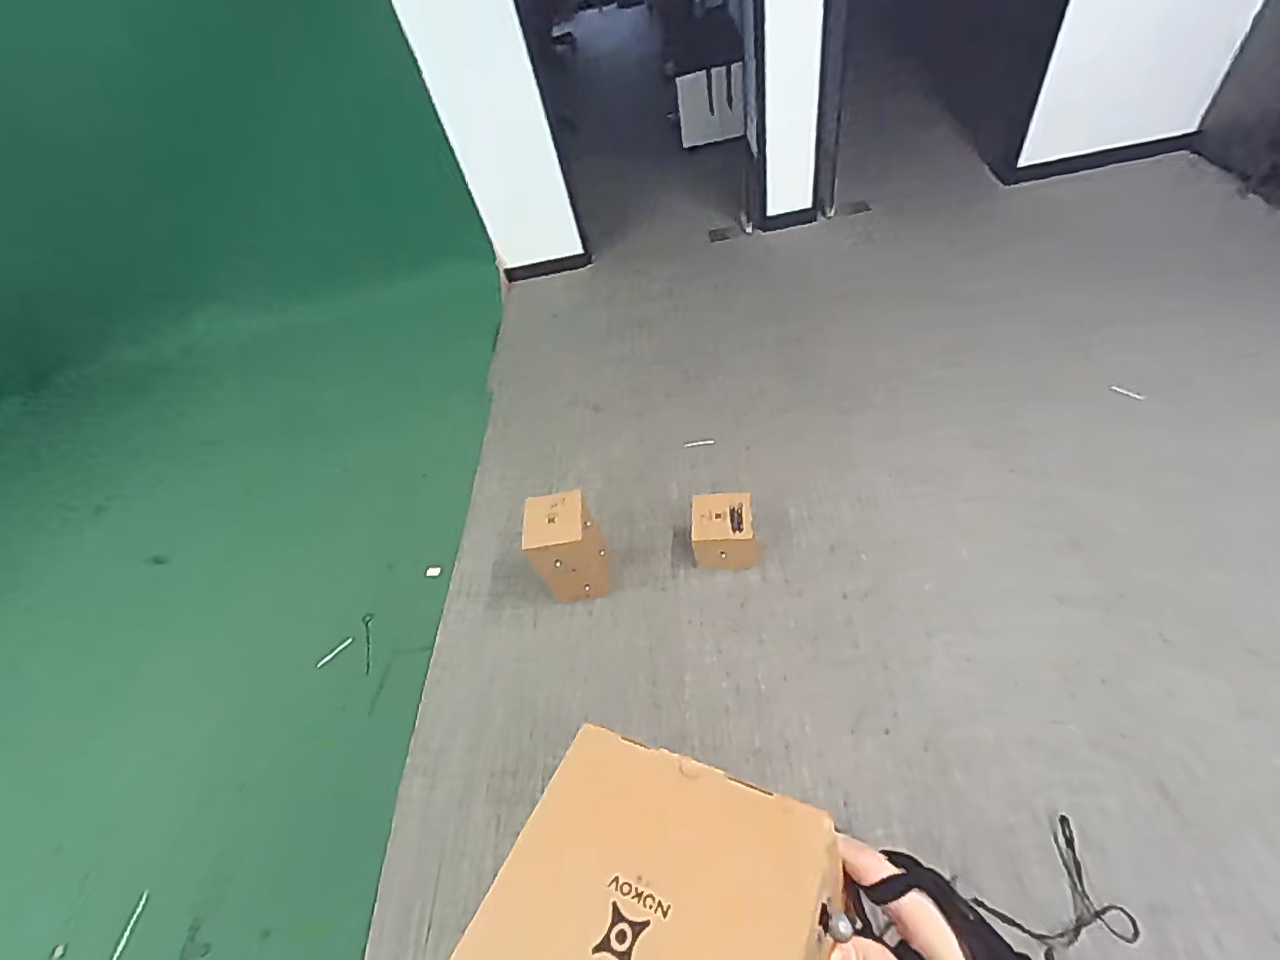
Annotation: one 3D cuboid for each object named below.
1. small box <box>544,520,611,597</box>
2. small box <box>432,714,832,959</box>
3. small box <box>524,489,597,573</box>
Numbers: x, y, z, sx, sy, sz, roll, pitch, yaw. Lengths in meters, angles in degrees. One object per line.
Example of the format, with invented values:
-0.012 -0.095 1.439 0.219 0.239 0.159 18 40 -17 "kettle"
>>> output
-0.188 0.251 1.679 0.168 0.176 0.179 -8 50 7 "small box"
0.010 0.286 0.328 0.168 0.176 0.179 5 40 33 "small box"
-0.222 0.152 1.552 0.168 0.176 0.179 -9 50 5 "small box"
